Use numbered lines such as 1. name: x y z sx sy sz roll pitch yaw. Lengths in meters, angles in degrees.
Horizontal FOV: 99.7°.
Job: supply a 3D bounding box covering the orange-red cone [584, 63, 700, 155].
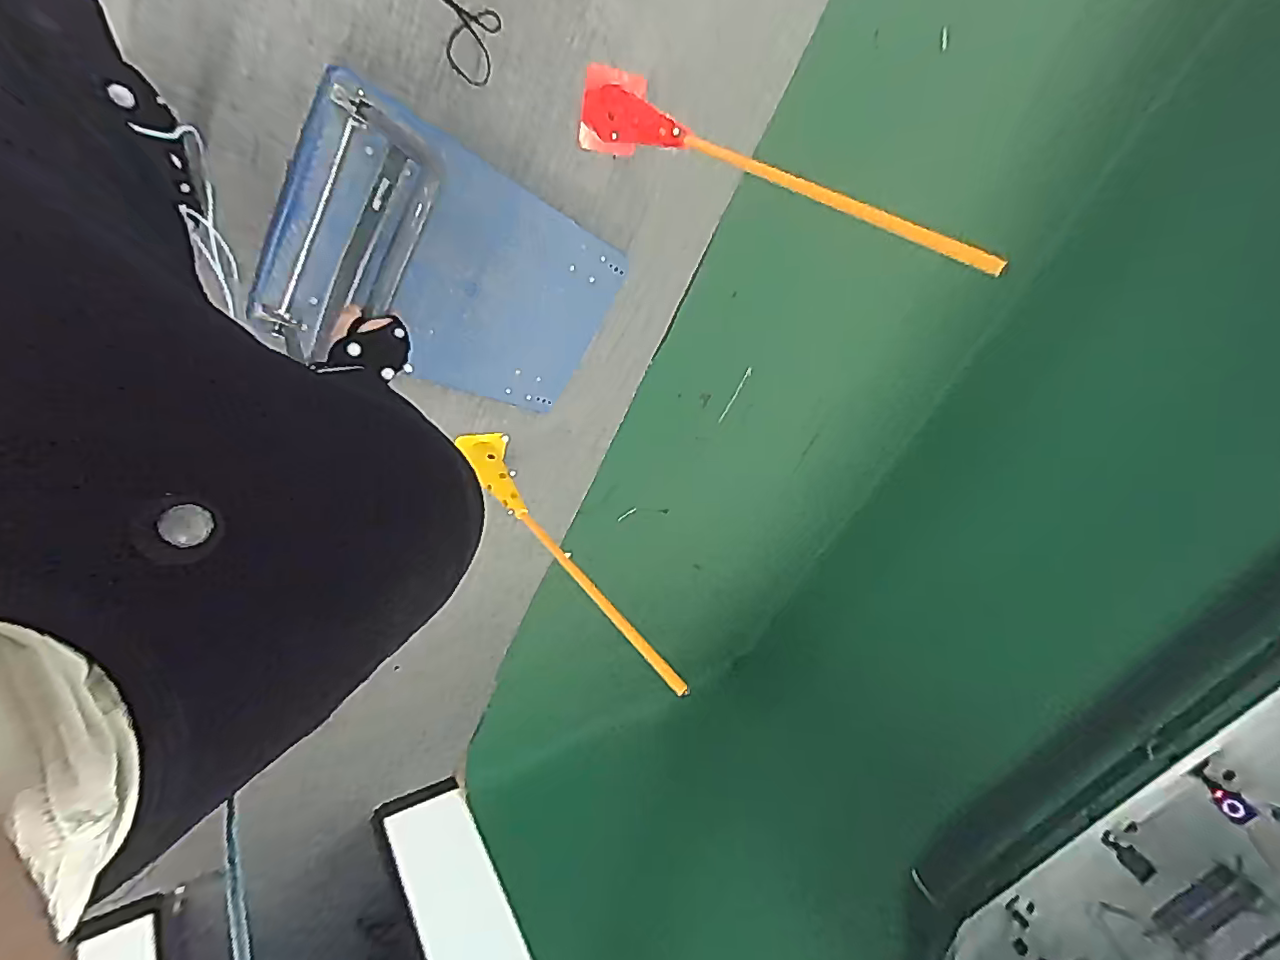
1. orange-red cone: 0.032 -0.958 1.449 0.198 0.360 0.199 -13 133 -37
